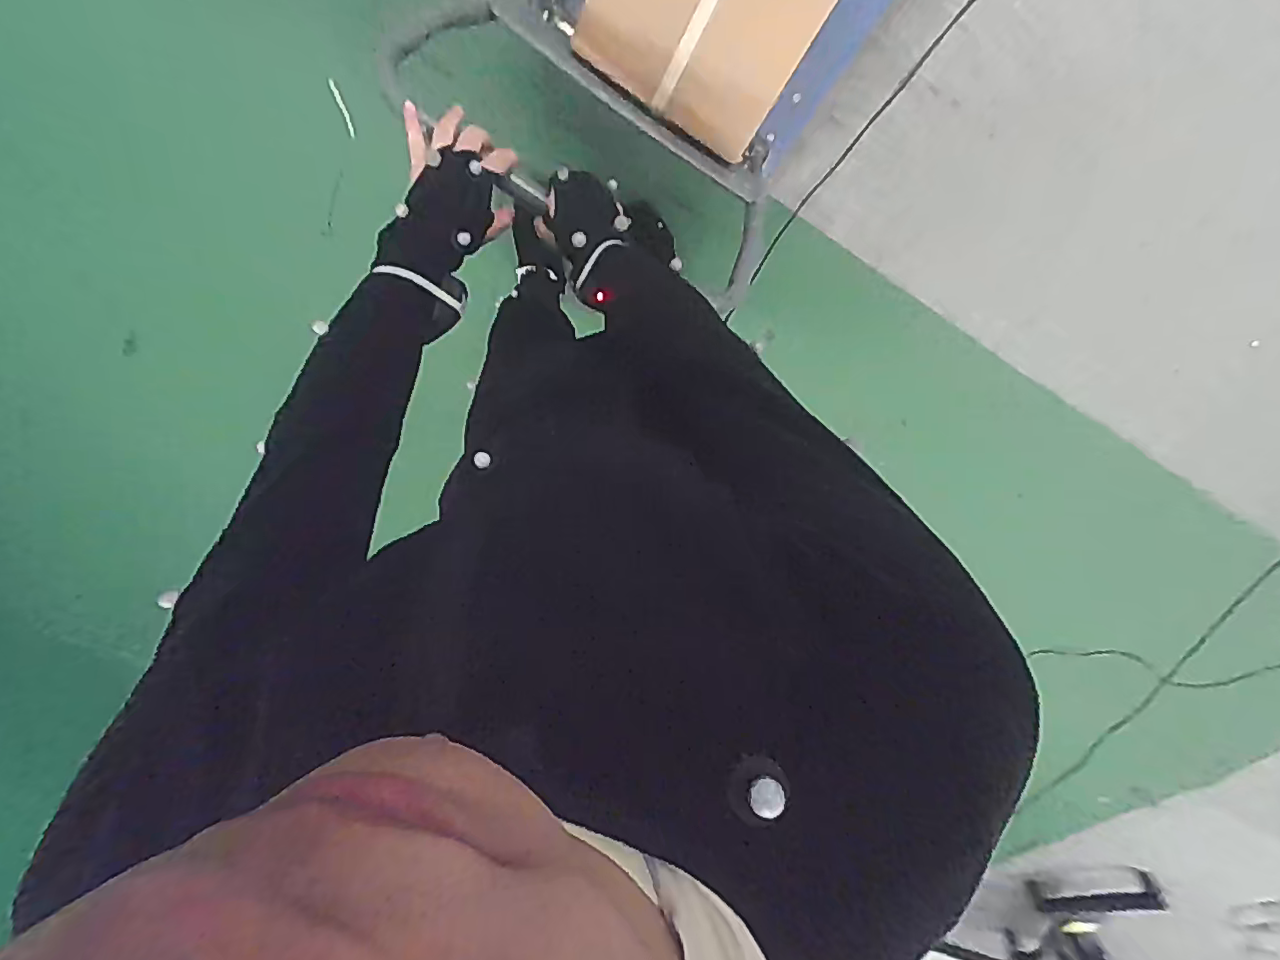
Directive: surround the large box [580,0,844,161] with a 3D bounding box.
[{"bbox_3d":[0.153,-0.803,0.848,0.320,0.320,0.408,28,128,-13],"label":"large box"}]
